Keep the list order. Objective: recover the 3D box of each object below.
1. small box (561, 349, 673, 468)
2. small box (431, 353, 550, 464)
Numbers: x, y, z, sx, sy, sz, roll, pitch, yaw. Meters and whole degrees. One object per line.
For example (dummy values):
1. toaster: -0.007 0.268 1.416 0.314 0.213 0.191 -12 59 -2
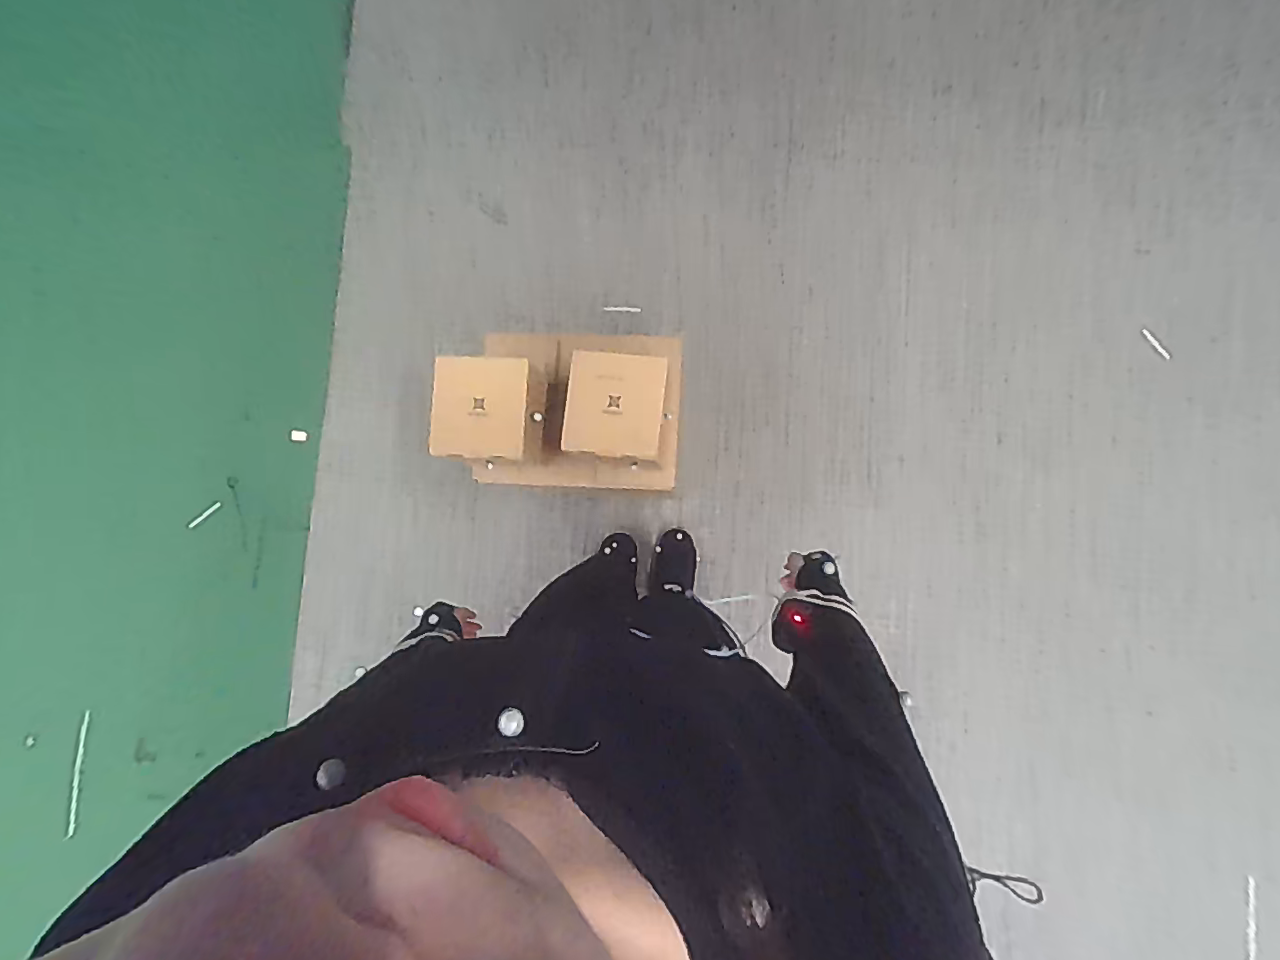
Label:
1. small box: -0.033 -0.121 0.980 0.168 0.176 0.179 7 86 7
2. small box: -0.268 -0.125 1.006 0.168 0.176 0.179 3 88 5
